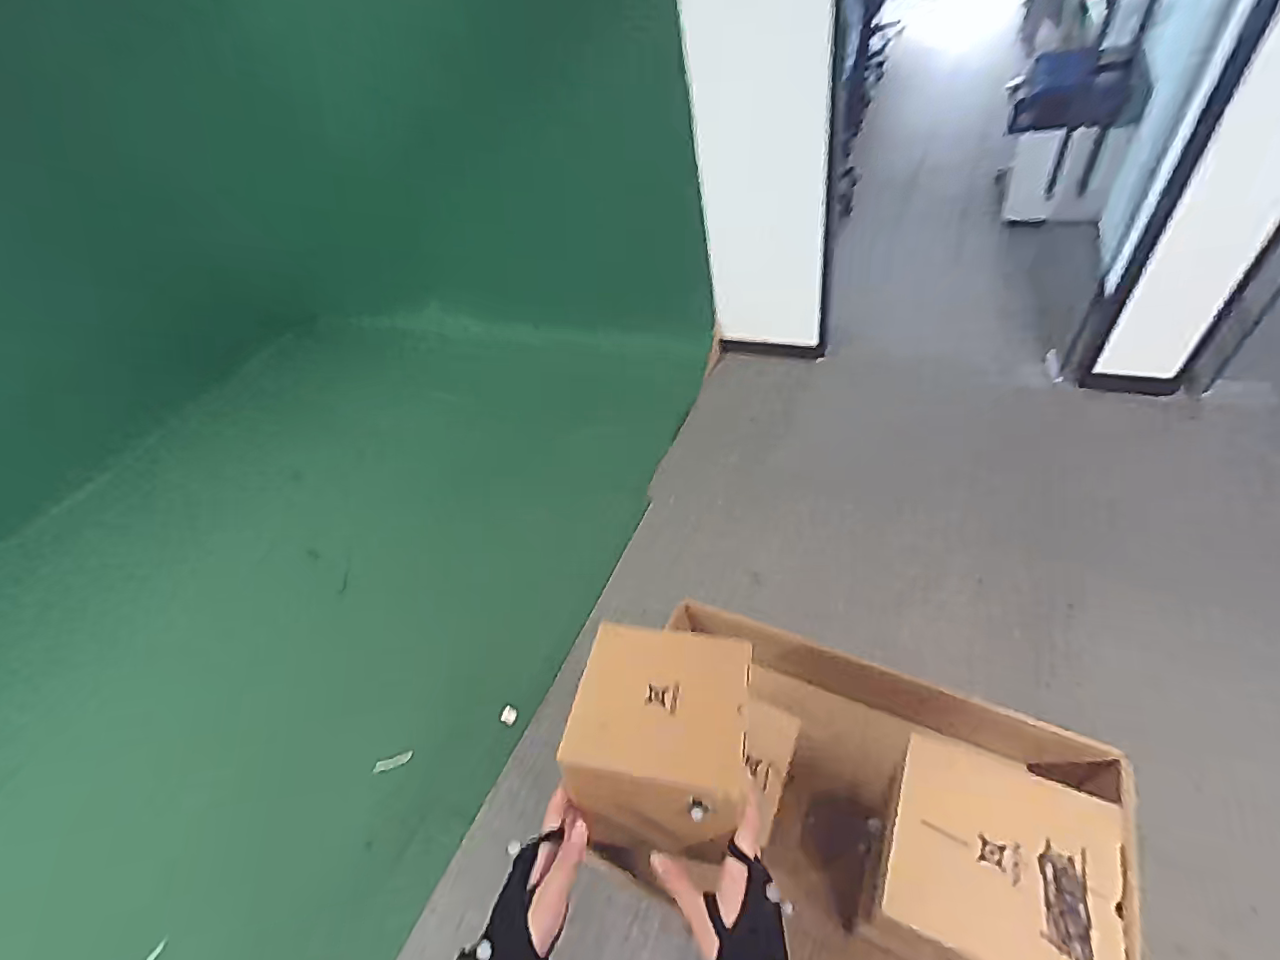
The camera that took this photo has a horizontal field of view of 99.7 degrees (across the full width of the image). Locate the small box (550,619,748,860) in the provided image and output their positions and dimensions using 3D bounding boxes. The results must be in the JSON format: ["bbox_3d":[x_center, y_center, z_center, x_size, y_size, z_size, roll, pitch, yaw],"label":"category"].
[{"bbox_3d":[0.021,0.277,0.586,0.179,0.176,0.168,5,36,11],"label":"small box"}]

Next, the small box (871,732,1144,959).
[{"bbox_3d":[0.336,0.381,0.521,0.179,0.176,0.168,13,52,27],"label":"small box"}]
